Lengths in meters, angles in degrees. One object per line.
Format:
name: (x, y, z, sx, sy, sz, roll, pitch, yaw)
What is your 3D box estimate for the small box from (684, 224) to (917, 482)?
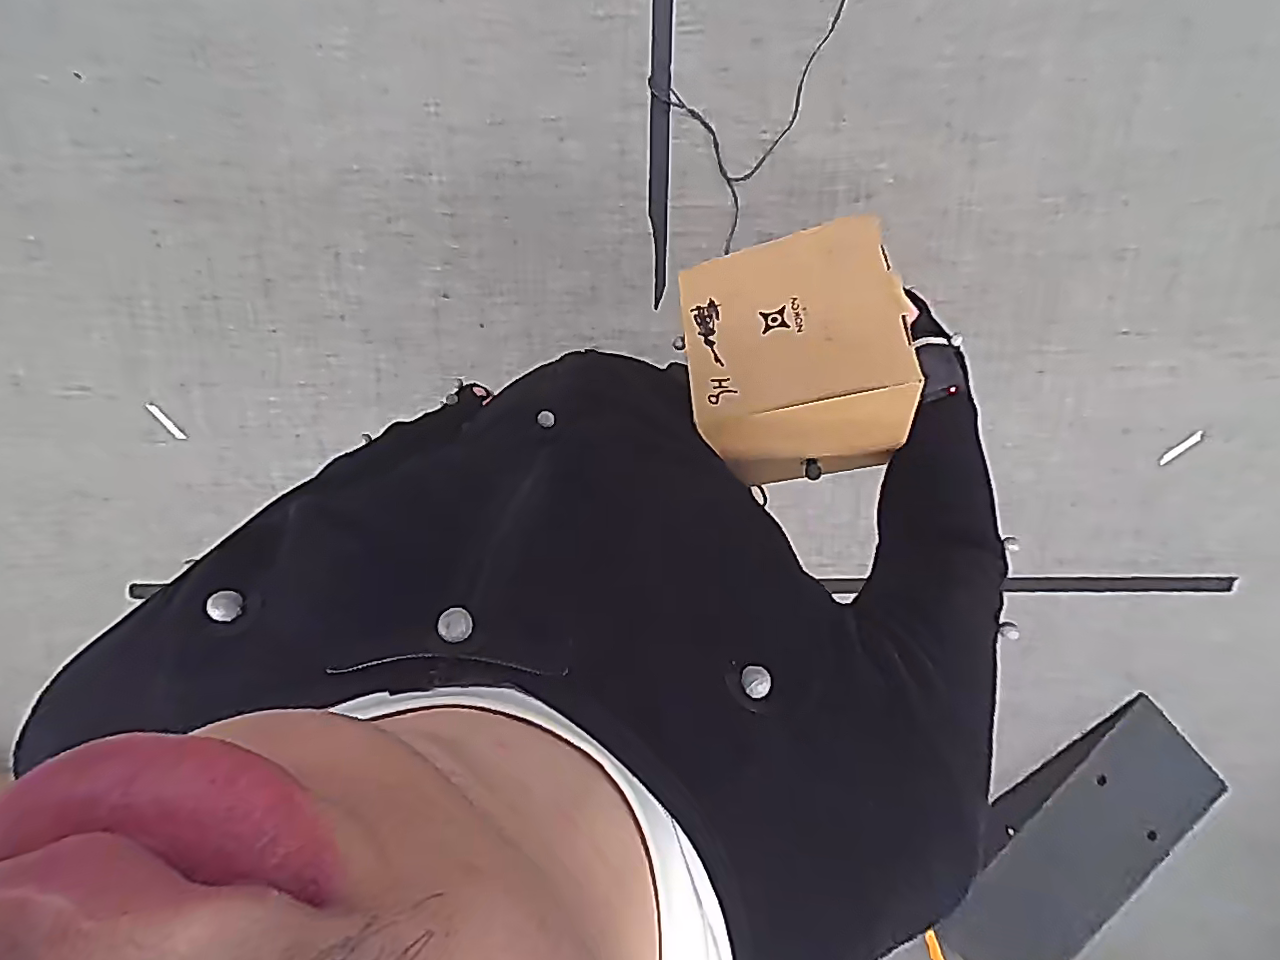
small box: (0.151, -0.110, 0.537, 0.179, 0.176, 0.168, -9, 66, 16)
